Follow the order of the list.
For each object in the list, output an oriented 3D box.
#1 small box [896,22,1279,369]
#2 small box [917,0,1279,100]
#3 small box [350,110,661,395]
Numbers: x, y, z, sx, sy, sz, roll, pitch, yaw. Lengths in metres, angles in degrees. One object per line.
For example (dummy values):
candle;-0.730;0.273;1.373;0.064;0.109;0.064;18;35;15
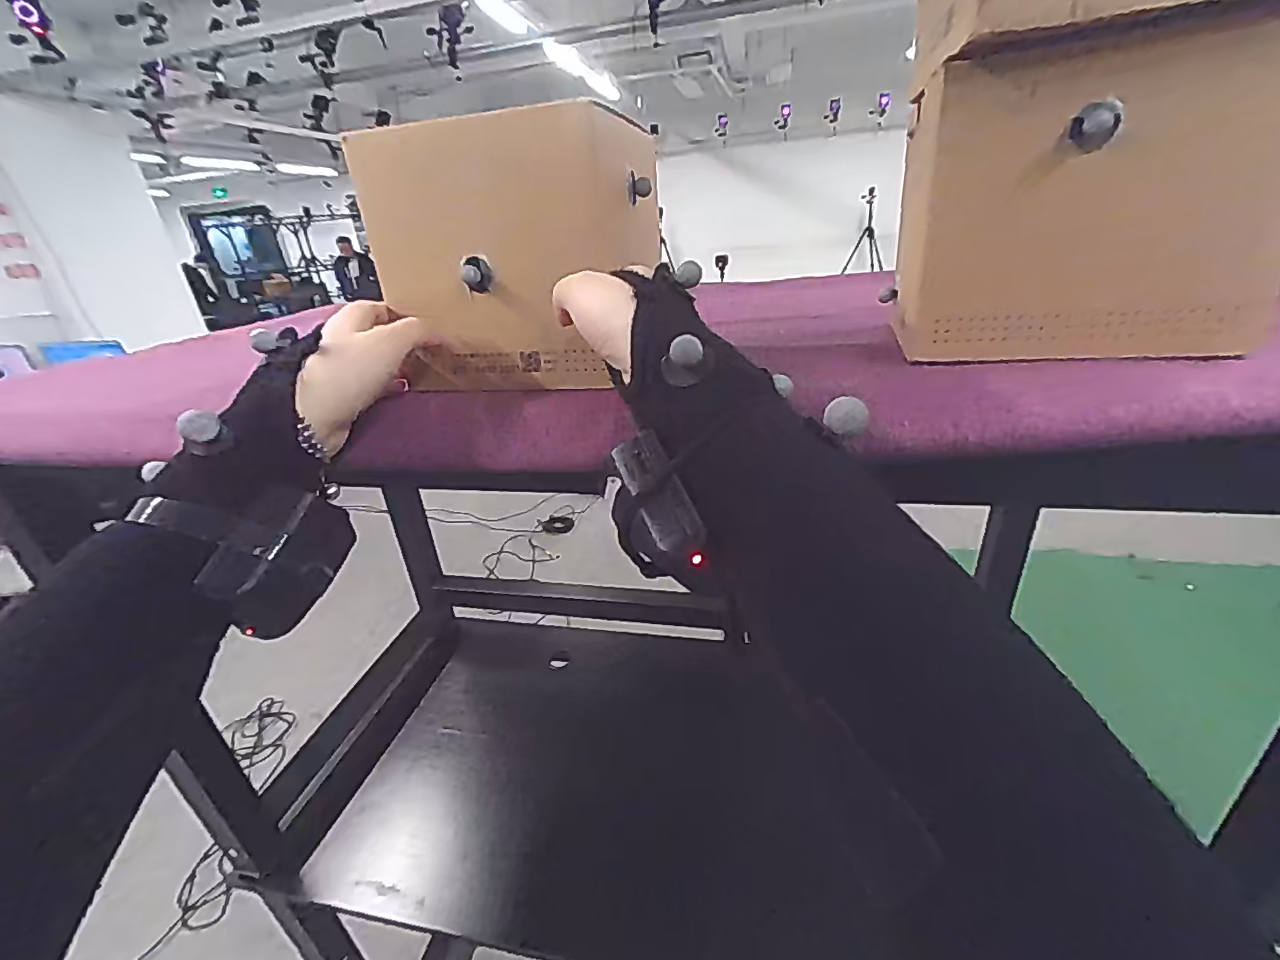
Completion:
small box;0.279;-0.174;0.369;0.179;0.176;0.168;4;26;19
small box;0.260;-0.315;0.289;0.179;0.176;0.168;2;25;15
small box;-0.079;-0.169;0.425;0.168;0.176;0.179;2;27;13
